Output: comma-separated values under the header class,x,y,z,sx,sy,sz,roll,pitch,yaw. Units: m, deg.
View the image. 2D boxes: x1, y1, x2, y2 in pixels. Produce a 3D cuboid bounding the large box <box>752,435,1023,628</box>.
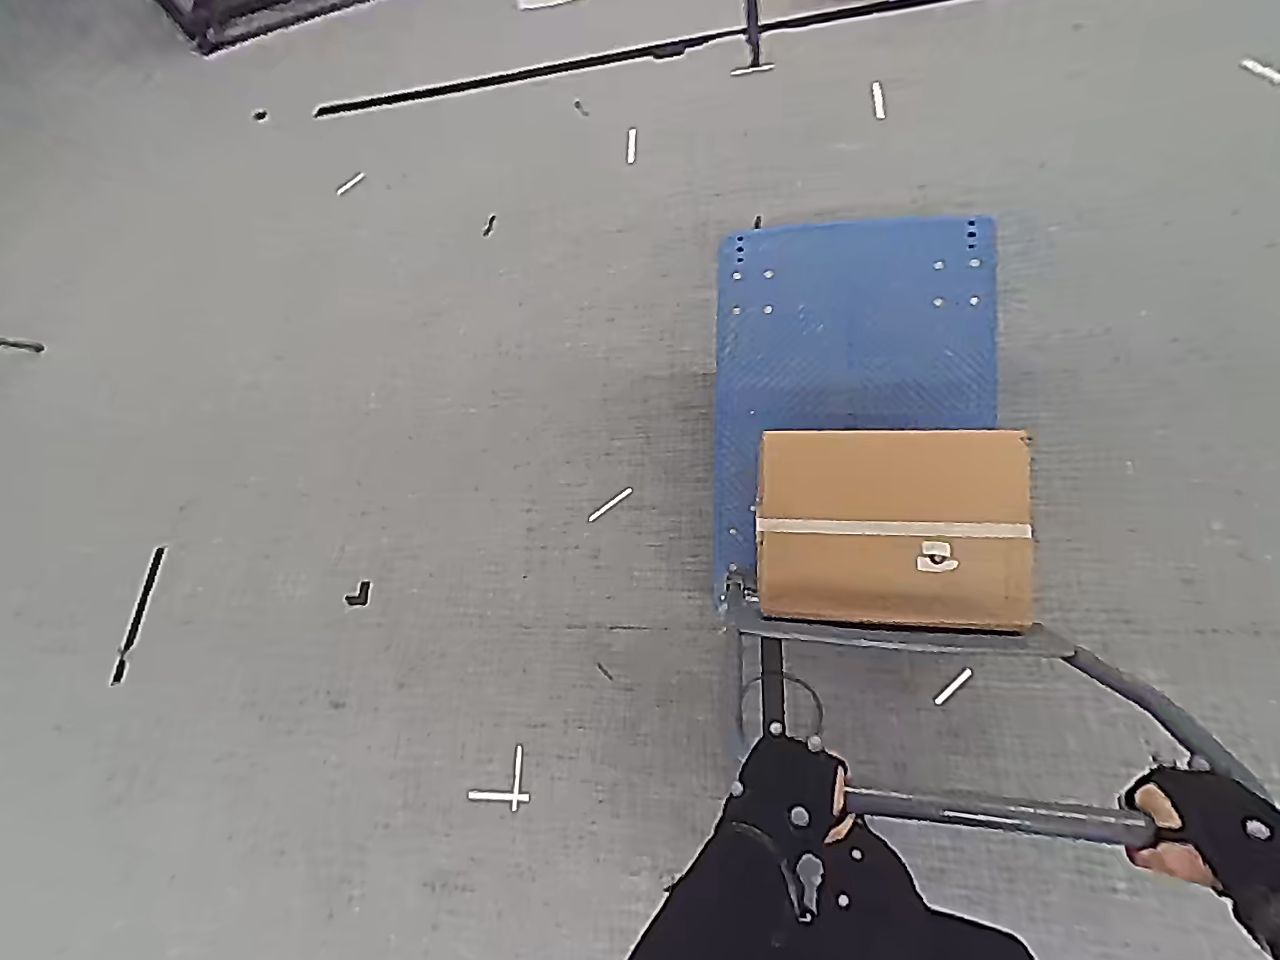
class,x,y,z,sx,sy,sz,roll,pitch,yaw
large box,0.427,0.091,1.032,0.408,0.320,0.320,0,88,10
